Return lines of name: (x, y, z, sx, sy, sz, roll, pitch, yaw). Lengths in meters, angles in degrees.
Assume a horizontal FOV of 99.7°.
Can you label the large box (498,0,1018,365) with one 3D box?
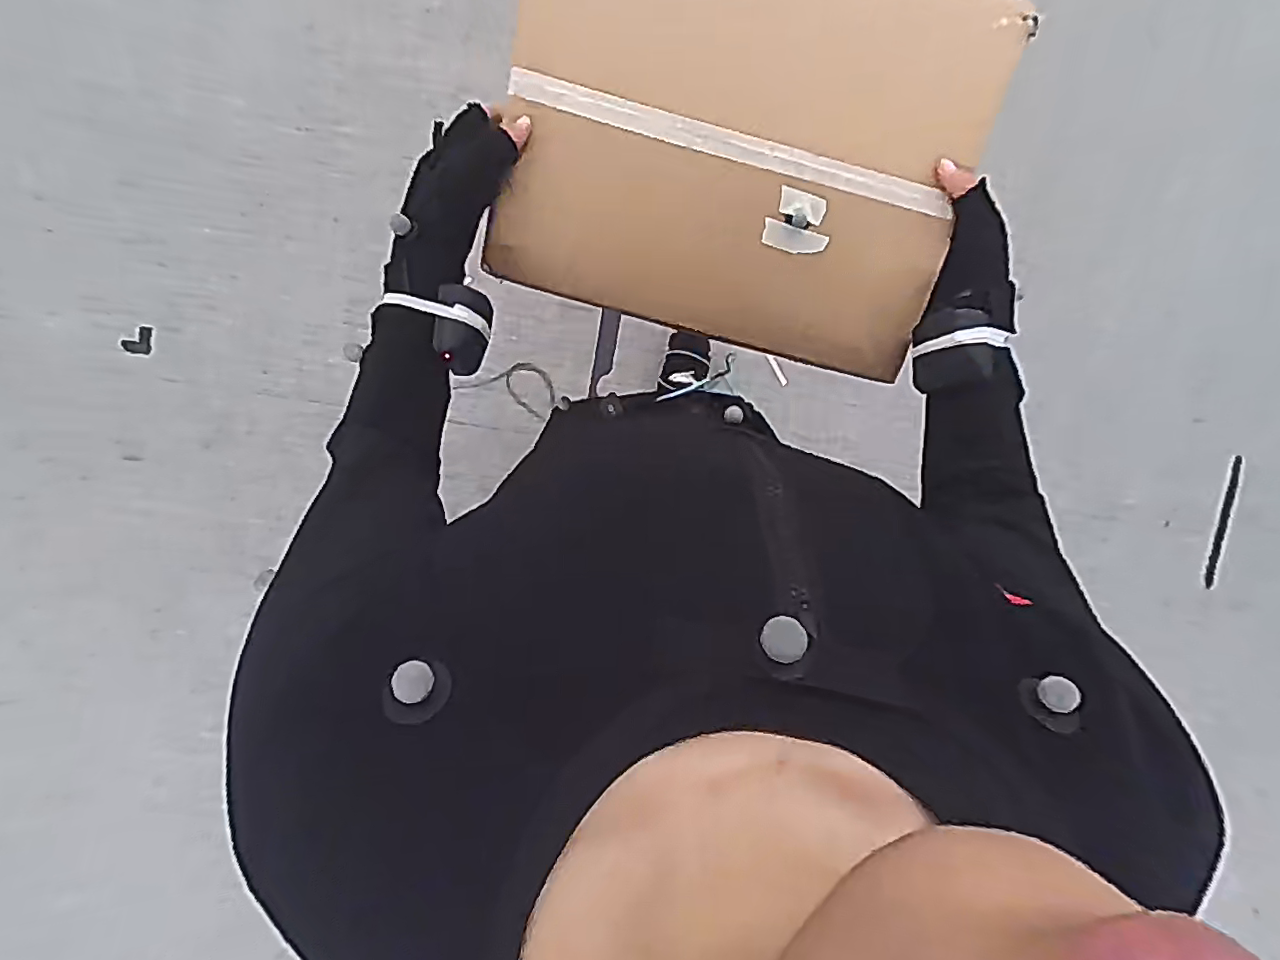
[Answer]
large box: (0.092, -0.342, 0.627, 0.408, 0.320, 0.320, 15, 107, -3)
